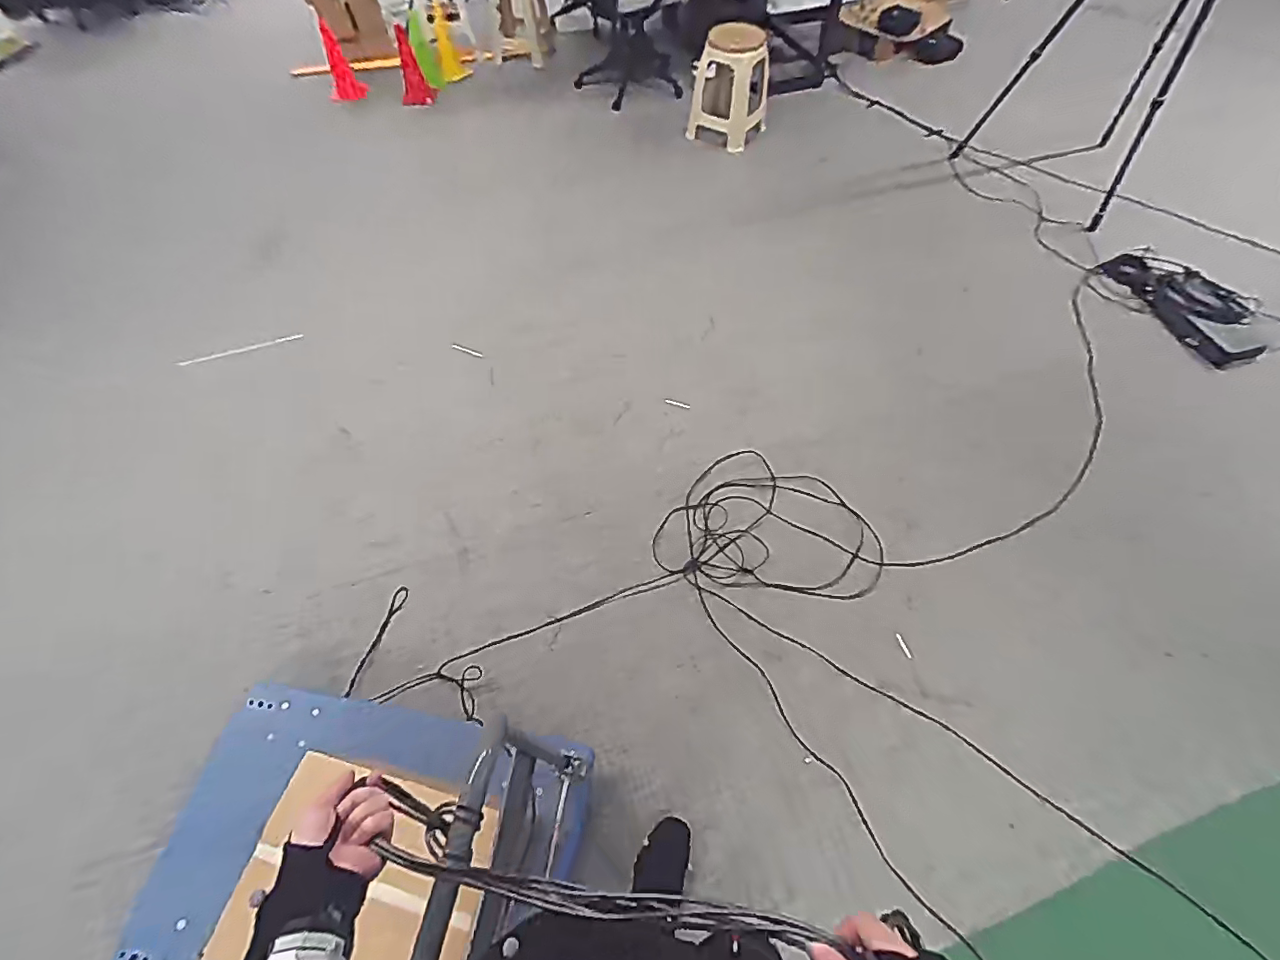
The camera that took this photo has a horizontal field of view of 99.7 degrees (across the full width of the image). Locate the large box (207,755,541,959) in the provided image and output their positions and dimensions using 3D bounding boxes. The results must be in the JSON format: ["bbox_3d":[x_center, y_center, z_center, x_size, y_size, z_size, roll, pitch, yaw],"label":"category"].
[{"bbox_3d":[-0.443,0.739,1.010,0.408,0.320,0.320,12,59,8],"label":"large box"}]
